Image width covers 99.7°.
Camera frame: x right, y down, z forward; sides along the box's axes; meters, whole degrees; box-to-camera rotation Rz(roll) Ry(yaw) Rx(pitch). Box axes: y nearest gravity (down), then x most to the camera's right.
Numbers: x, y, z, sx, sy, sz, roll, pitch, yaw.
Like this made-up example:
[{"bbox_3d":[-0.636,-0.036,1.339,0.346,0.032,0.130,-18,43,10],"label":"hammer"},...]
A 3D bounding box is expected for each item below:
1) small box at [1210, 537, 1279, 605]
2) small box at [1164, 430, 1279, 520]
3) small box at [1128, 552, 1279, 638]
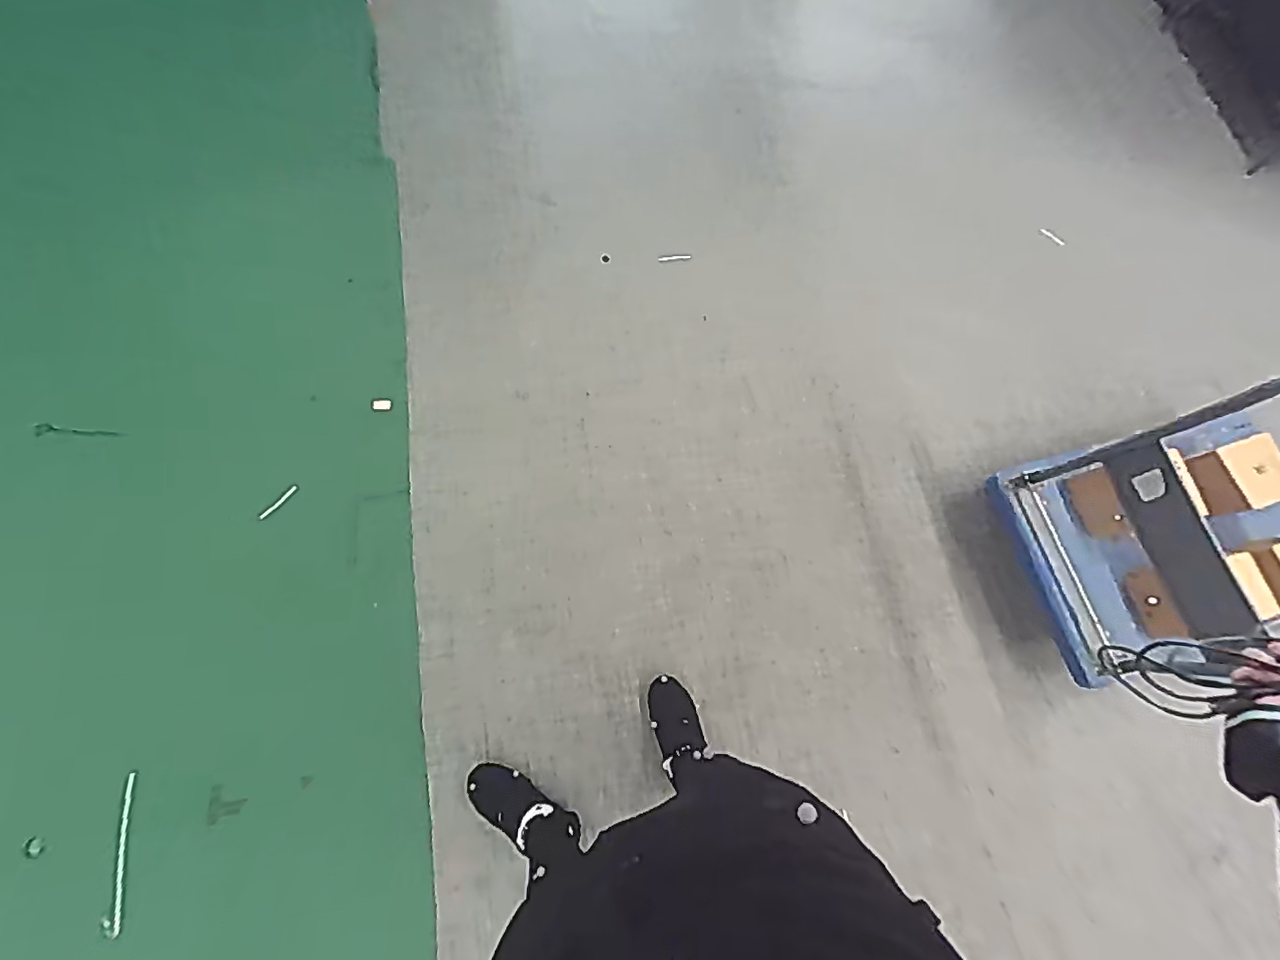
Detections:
[{"bbox_3d":[1.598,0.233,1.341,0.179,0.176,0.168,-14,74,-8],"label":"small box"},{"bbox_3d":[1.536,-0.006,1.410,0.179,0.176,0.168,-16,76,-9],"label":"small box"},{"bbox_3d":[1.361,0.281,1.310,0.179,0.176,0.168,-11,74,-7],"label":"small box"}]
